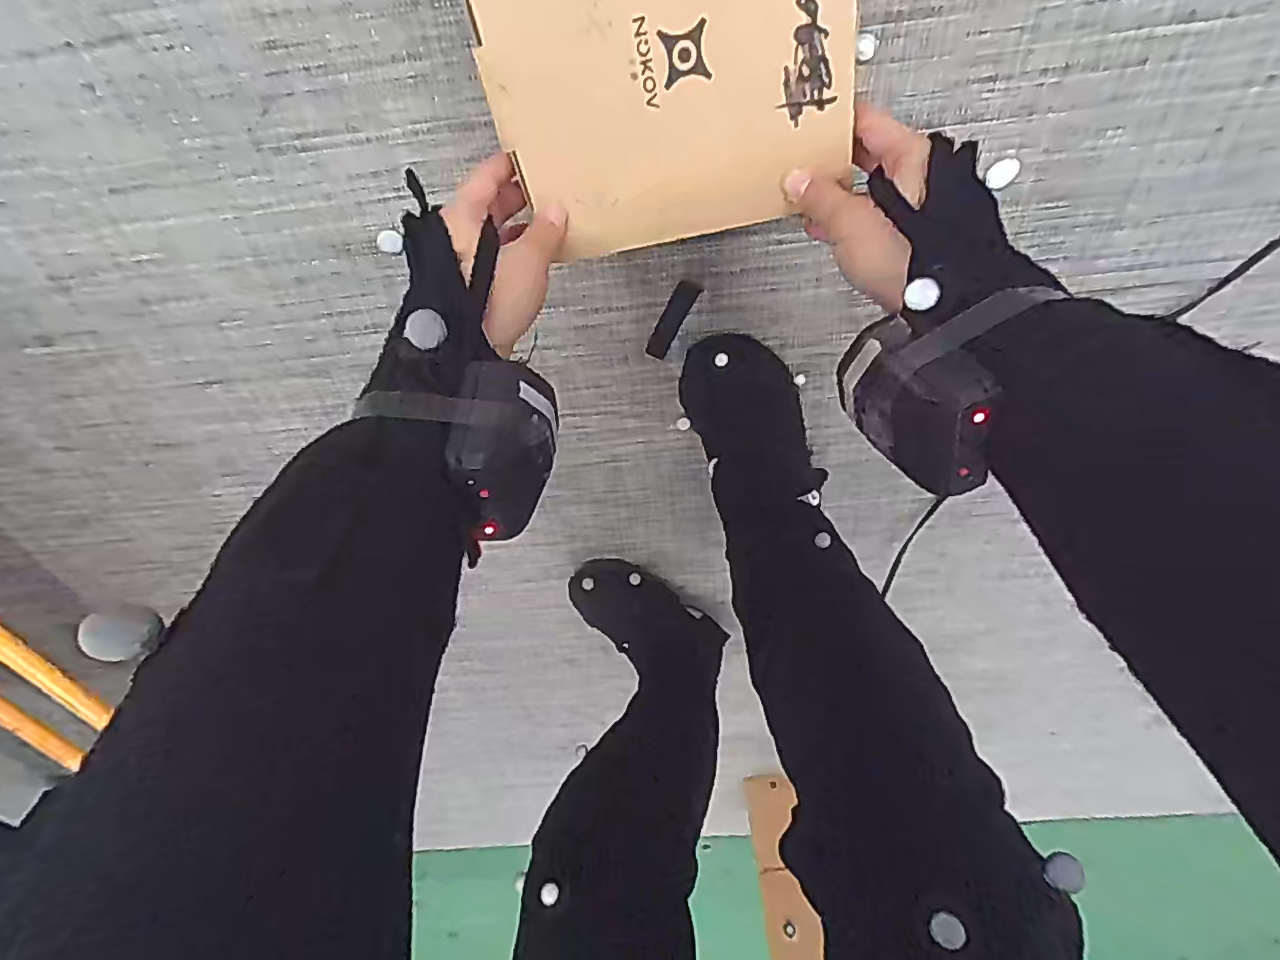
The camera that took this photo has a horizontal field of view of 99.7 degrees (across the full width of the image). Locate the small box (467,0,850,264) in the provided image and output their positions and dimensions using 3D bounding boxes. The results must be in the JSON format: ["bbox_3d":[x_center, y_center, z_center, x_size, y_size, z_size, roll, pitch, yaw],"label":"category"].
[{"bbox_3d":[0.017,-0.251,0.325,0.179,0.176,0.168,-7,129,10],"label":"small box"}]

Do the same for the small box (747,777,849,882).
[{"bbox_3d":[0.323,0.730,1.113,0.168,0.176,0.179,-12,129,9],"label":"small box"}]

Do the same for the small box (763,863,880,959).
[{"bbox_3d":[0.329,0.823,0.980,0.179,0.176,0.168,-15,129,10],"label":"small box"}]
